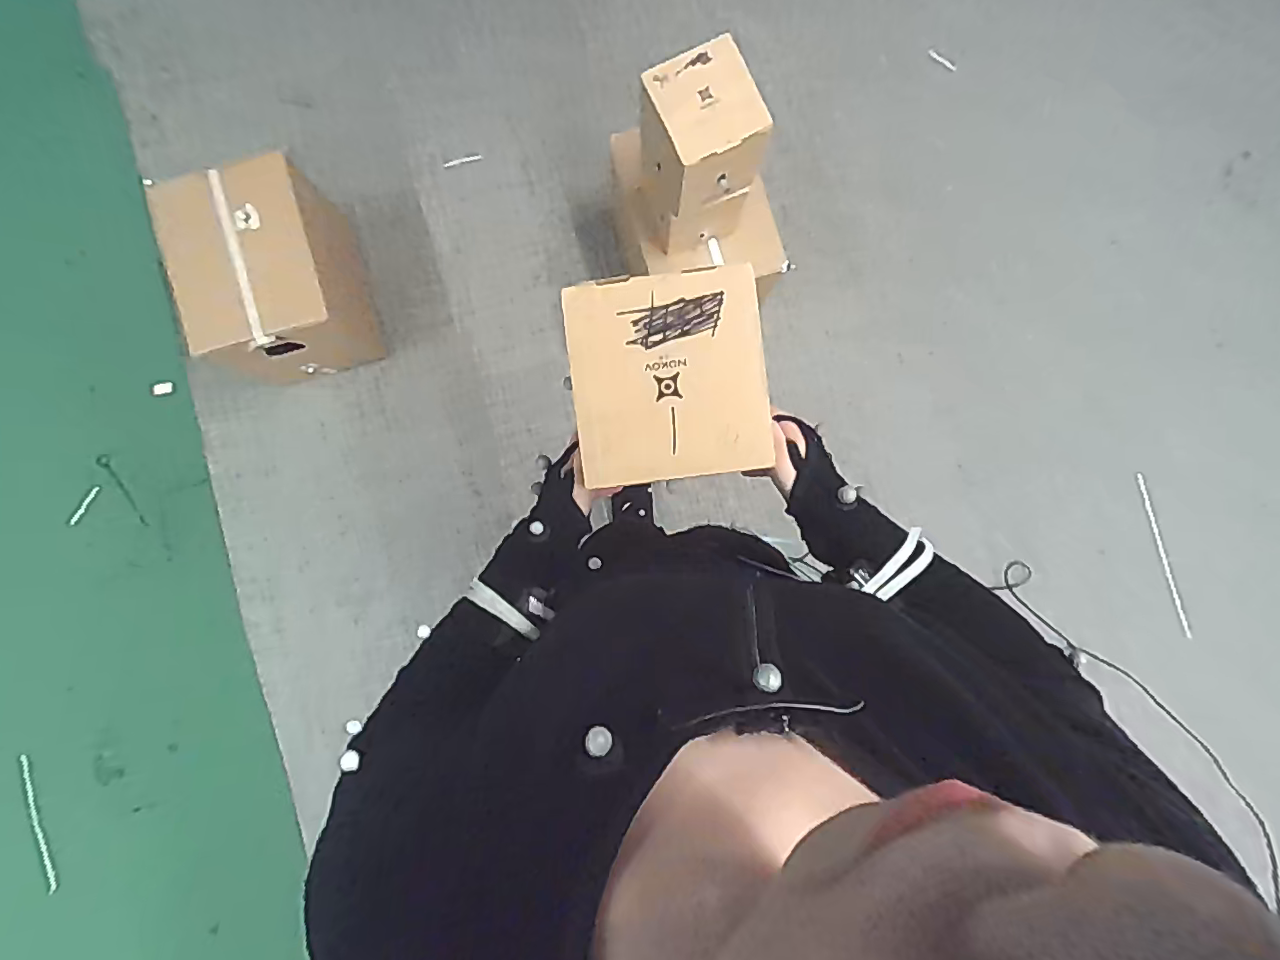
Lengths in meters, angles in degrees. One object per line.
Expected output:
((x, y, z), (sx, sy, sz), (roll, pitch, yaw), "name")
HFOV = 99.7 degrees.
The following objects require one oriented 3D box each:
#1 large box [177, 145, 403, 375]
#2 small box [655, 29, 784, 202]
((-0.858, -0.529, 1.374), (0.320, 0.320, 0.408), (-15, 87, 0), "large box")
((0.135, -0.636, 0.974), (0.168, 0.176, 0.179), (-24, 89, 1), "small box")
